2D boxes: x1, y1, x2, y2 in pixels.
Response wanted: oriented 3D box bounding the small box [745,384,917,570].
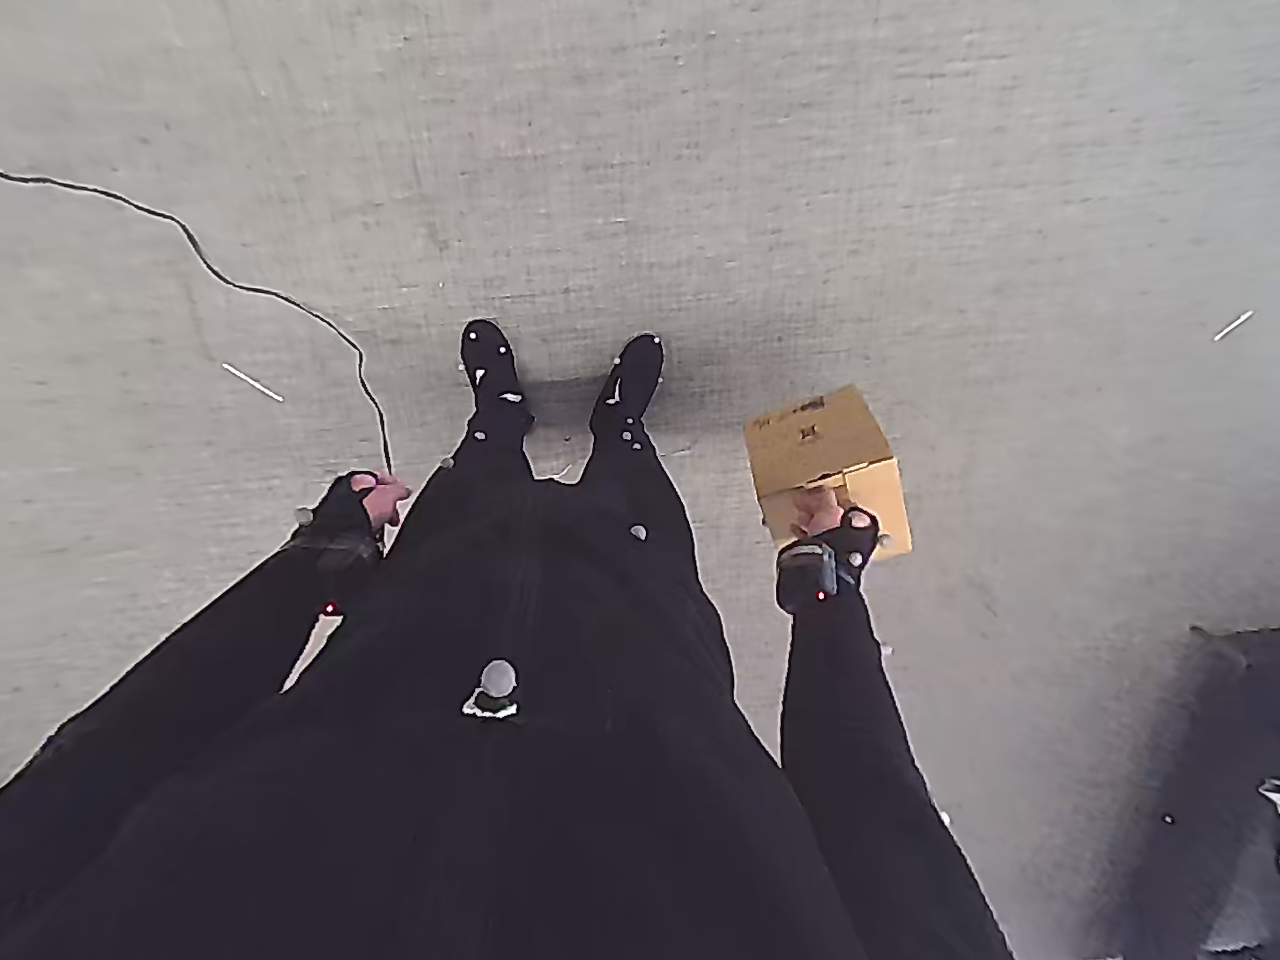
[{"bbox_3d":[0.263,0.005,0.752,0.168,0.179,0.176,-21,128,17],"label":"small box"}]
